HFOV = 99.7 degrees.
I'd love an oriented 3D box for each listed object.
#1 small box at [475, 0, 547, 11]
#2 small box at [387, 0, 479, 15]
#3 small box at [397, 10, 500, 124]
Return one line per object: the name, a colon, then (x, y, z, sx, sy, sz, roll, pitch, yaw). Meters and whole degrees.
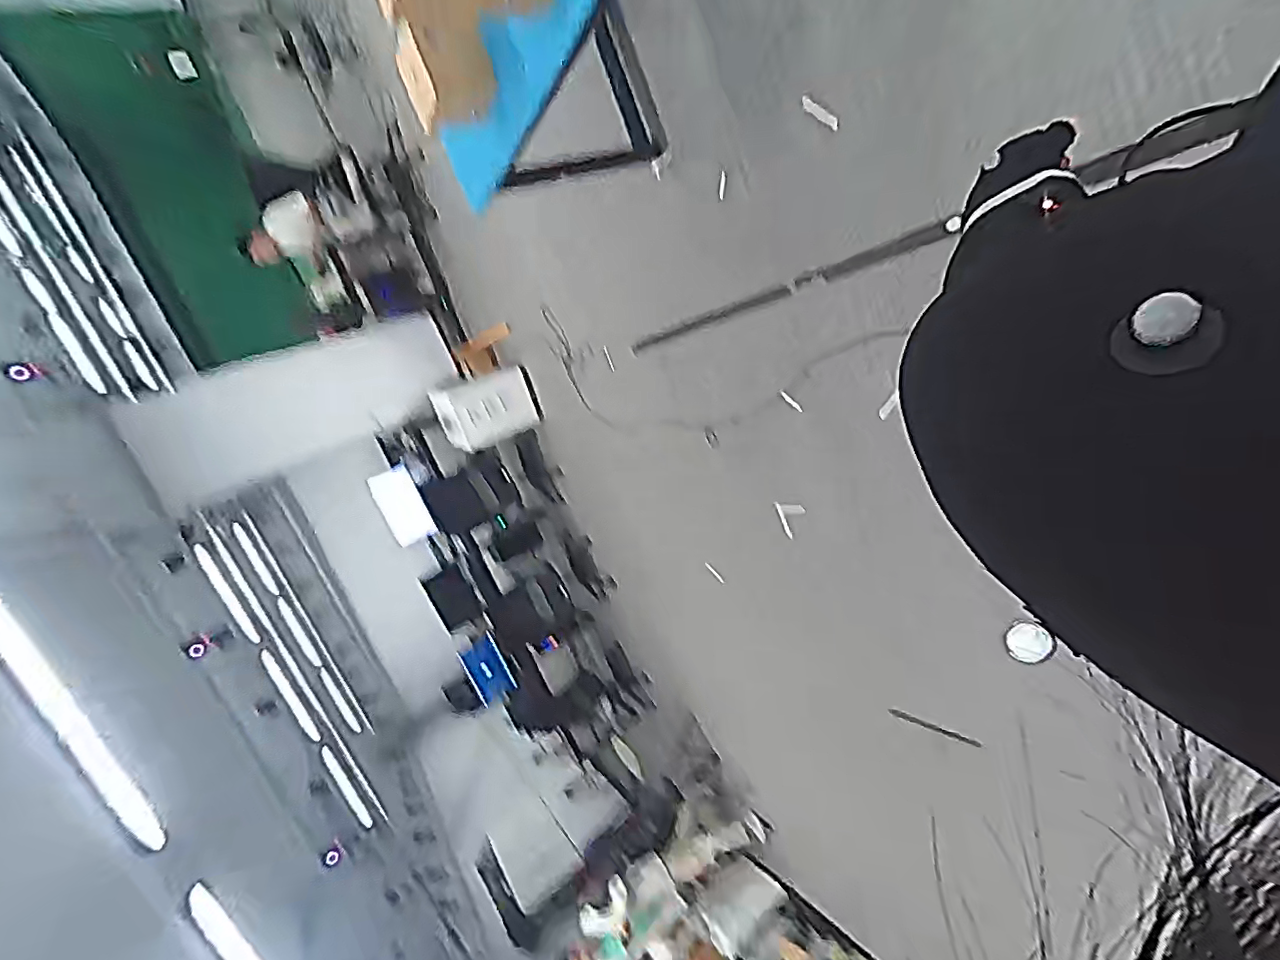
small box: (-0.244, -1.014, 0.993, 0.179, 0.176, 0.168, 0, 116, 60)
small box: (-0.363, -0.937, 0.913, 0.179, 0.176, 0.168, -8, 109, 60)
small box: (-0.485, -1.047, 1.372, 0.168, 0.176, 0.179, 5, 122, 59)
